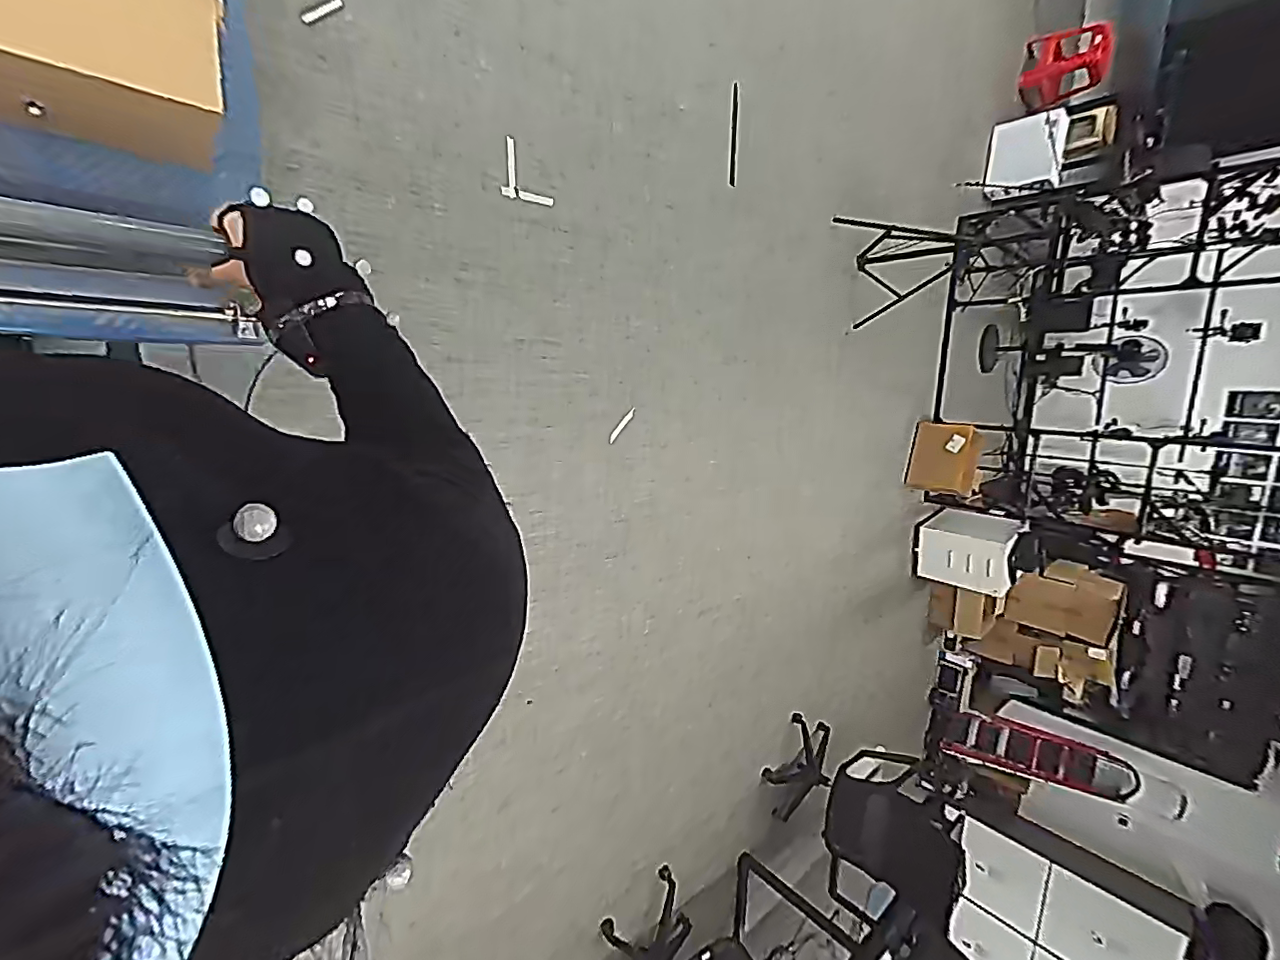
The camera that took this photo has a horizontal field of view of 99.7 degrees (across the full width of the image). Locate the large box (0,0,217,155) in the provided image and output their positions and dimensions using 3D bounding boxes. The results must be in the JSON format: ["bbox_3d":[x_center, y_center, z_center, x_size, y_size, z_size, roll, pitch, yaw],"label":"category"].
[{"bbox_3d":[-0.849,-0.695,0.729,0.408,0.320,0.320,-7,102,-41],"label":"large box"}]
